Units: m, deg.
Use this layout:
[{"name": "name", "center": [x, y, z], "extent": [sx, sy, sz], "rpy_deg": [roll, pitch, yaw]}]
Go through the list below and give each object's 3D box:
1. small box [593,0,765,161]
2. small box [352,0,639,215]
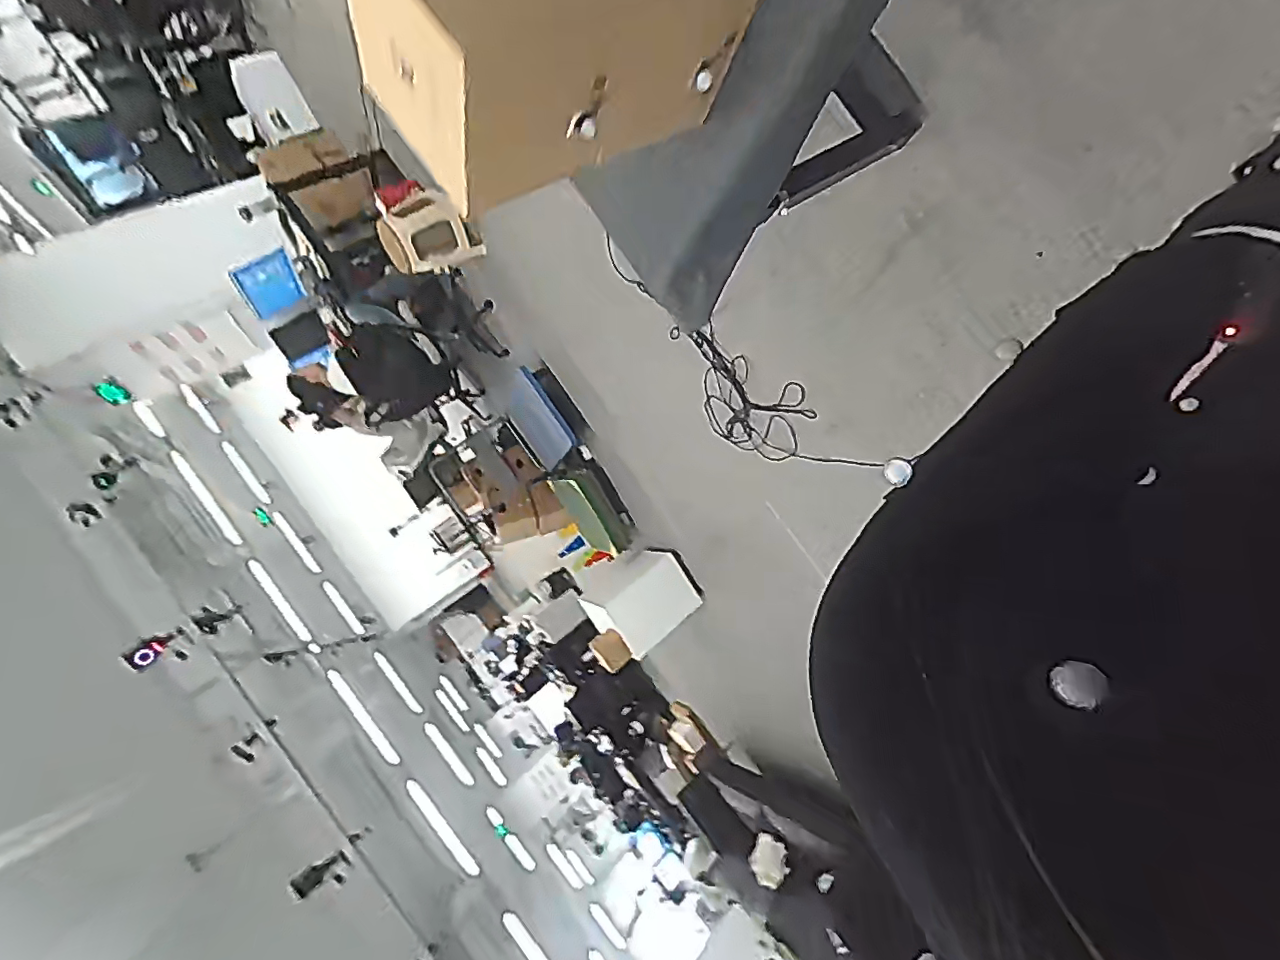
[{"name": "small box", "center": [-0.010, -0.473, 0.544], "extent": [0.179, 0.176, 0.168], "rpy_deg": [53, 157, 2]}, {"name": "small box", "center": [-0.131, -0.385, 0.481], "extent": [0.179, 0.176, 0.168], "rpy_deg": [52, 158, 2]}]
